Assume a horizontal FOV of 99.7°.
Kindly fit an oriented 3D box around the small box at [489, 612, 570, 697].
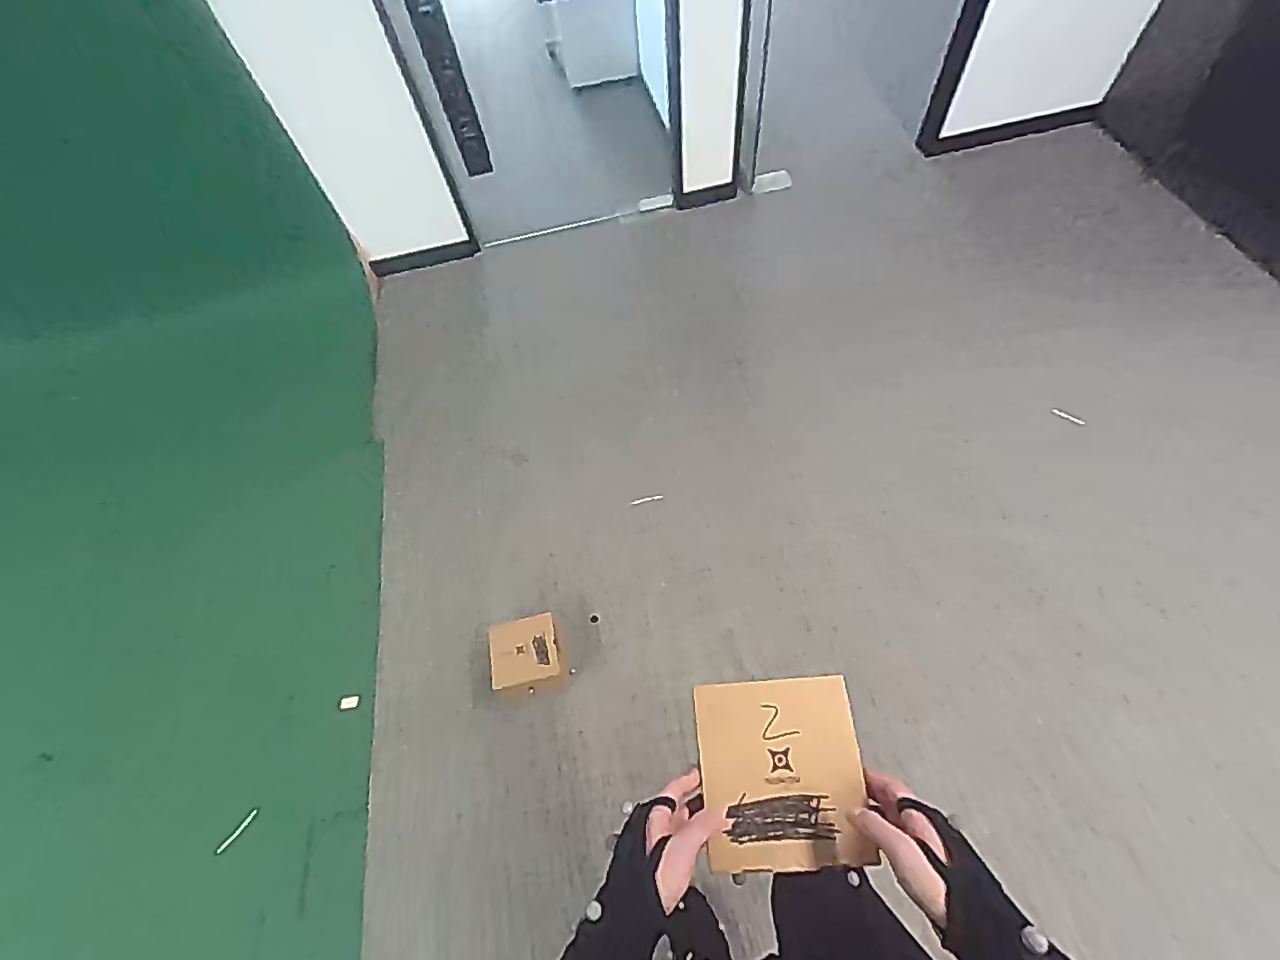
[{"bbox_3d":[-0.290,0.470,1.448,0.179,0.176,0.168,-13,59,-1],"label":"small box"}]
